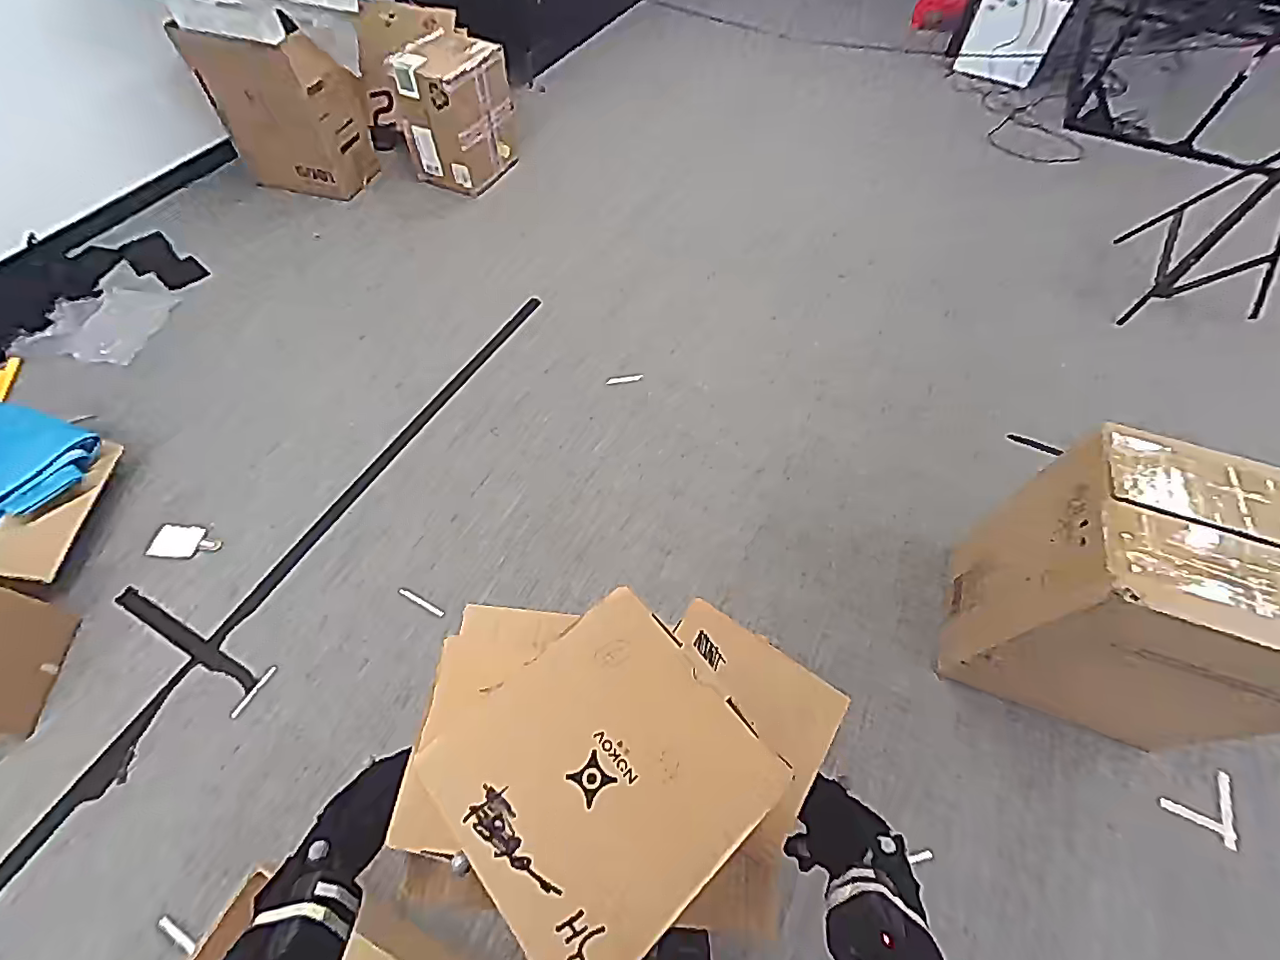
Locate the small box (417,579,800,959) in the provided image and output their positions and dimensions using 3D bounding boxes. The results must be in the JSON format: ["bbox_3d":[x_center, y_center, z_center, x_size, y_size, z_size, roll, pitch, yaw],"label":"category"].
[{"bbox_3d":[-0.023,0.207,0.393,0.179,0.176,0.168,-36,69,-20],"label":"small box"}]

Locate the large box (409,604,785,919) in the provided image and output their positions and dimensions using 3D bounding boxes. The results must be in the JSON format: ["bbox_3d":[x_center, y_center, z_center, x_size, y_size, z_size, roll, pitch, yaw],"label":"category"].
[{"bbox_3d":[-0.047,0.379,0.763,0.408,0.320,0.320,6,63,-2],"label":"large box"}]

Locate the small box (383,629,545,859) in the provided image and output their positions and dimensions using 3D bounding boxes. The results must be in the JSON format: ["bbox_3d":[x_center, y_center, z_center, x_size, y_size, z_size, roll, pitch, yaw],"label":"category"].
[{"bbox_3d":[-0.122,0.266,0.542,0.168,0.176,0.179,9,61,-1],"label":"small box"}]

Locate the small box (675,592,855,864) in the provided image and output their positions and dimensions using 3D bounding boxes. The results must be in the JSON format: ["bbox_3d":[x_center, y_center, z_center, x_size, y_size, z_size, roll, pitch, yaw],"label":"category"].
[{"bbox_3d":[0.081,0.251,0.560,0.179,0.176,0.168,33,66,14],"label":"small box"}]
